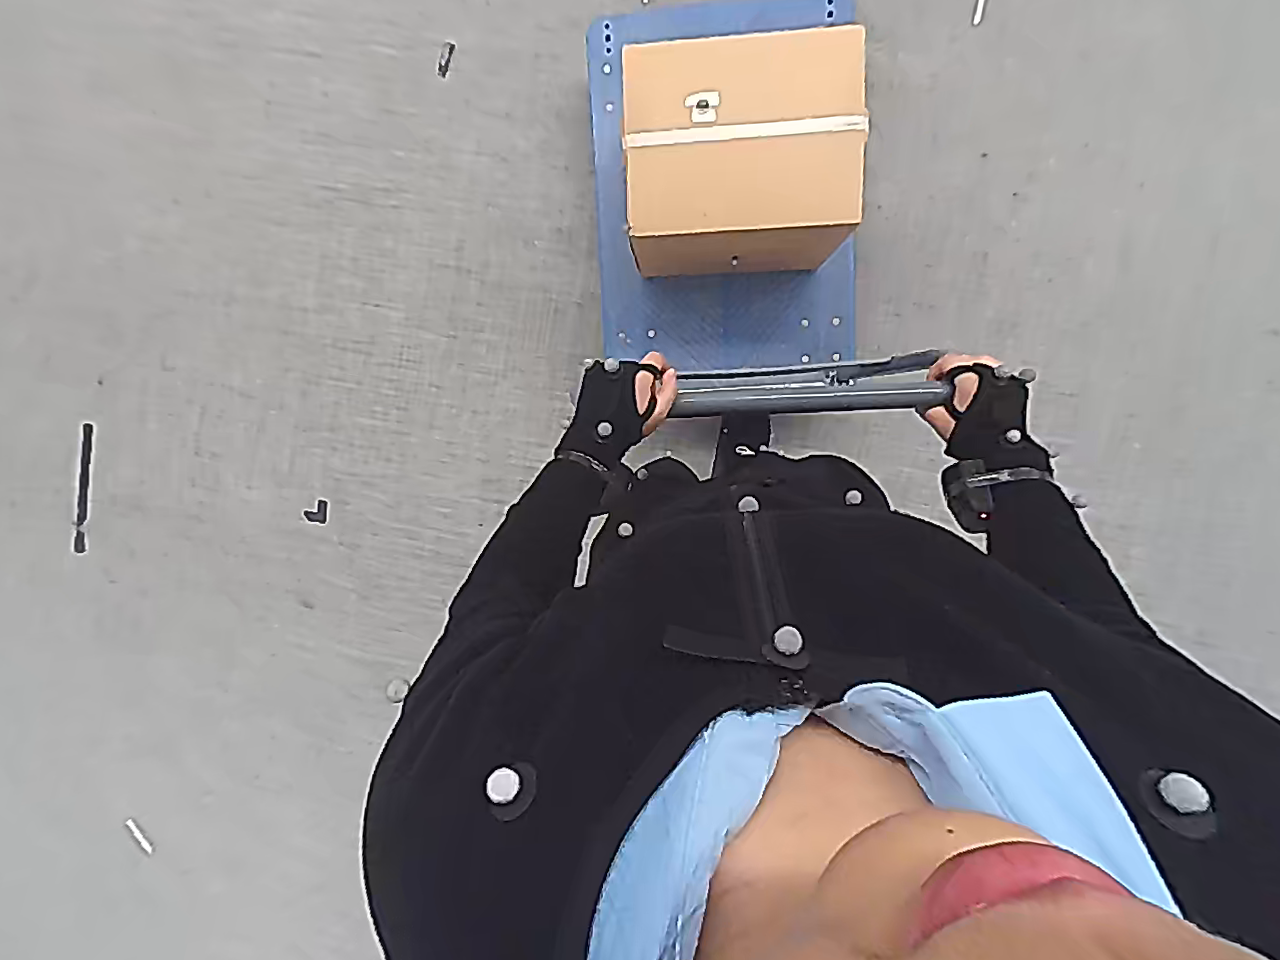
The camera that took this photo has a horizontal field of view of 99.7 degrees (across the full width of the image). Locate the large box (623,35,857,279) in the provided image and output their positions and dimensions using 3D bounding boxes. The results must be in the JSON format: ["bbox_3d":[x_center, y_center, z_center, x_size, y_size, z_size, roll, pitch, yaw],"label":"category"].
[{"bbox_3d":[0.189,-0.609,1.092,0.408,0.320,0.320,-2,96,6],"label":"large box"}]
